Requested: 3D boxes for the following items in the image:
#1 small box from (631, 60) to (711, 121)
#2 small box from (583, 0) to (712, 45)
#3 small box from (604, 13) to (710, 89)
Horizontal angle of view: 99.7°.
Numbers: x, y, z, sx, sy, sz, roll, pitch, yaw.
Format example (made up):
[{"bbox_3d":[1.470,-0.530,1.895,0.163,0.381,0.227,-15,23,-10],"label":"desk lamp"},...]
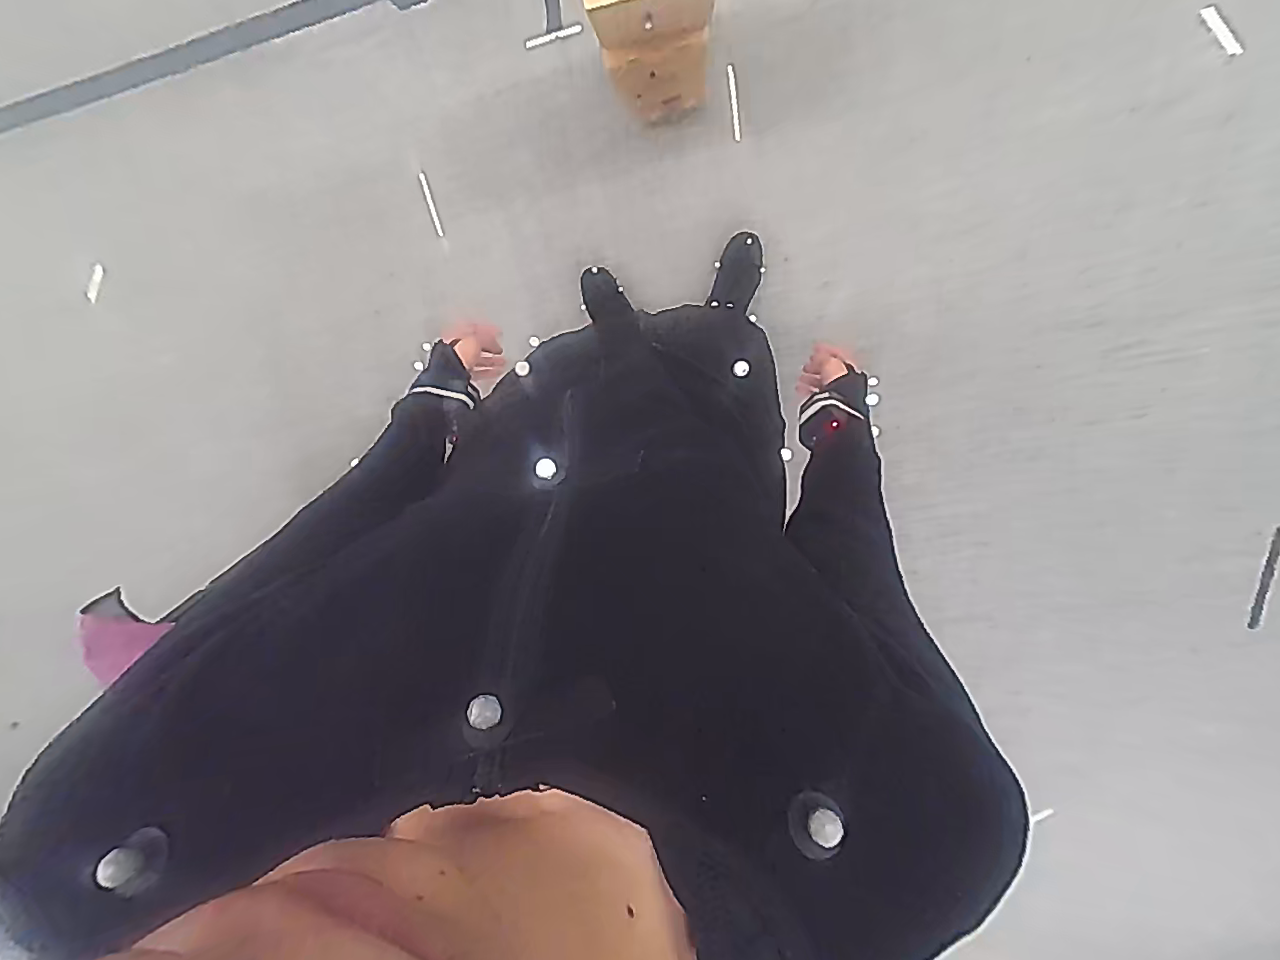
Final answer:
[{"bbox_3d":[0.055,-0.915,1.178,0.168,0.176,0.179,-12,115,11],"label":"small box"},{"bbox_3d":[0.006,-0.724,0.727,0.179,0.176,0.168,-7,115,9],"label":"small box"},{"bbox_3d":[0.019,-0.777,0.883,0.168,0.176,0.179,-9,115,9],"label":"small box"}]
